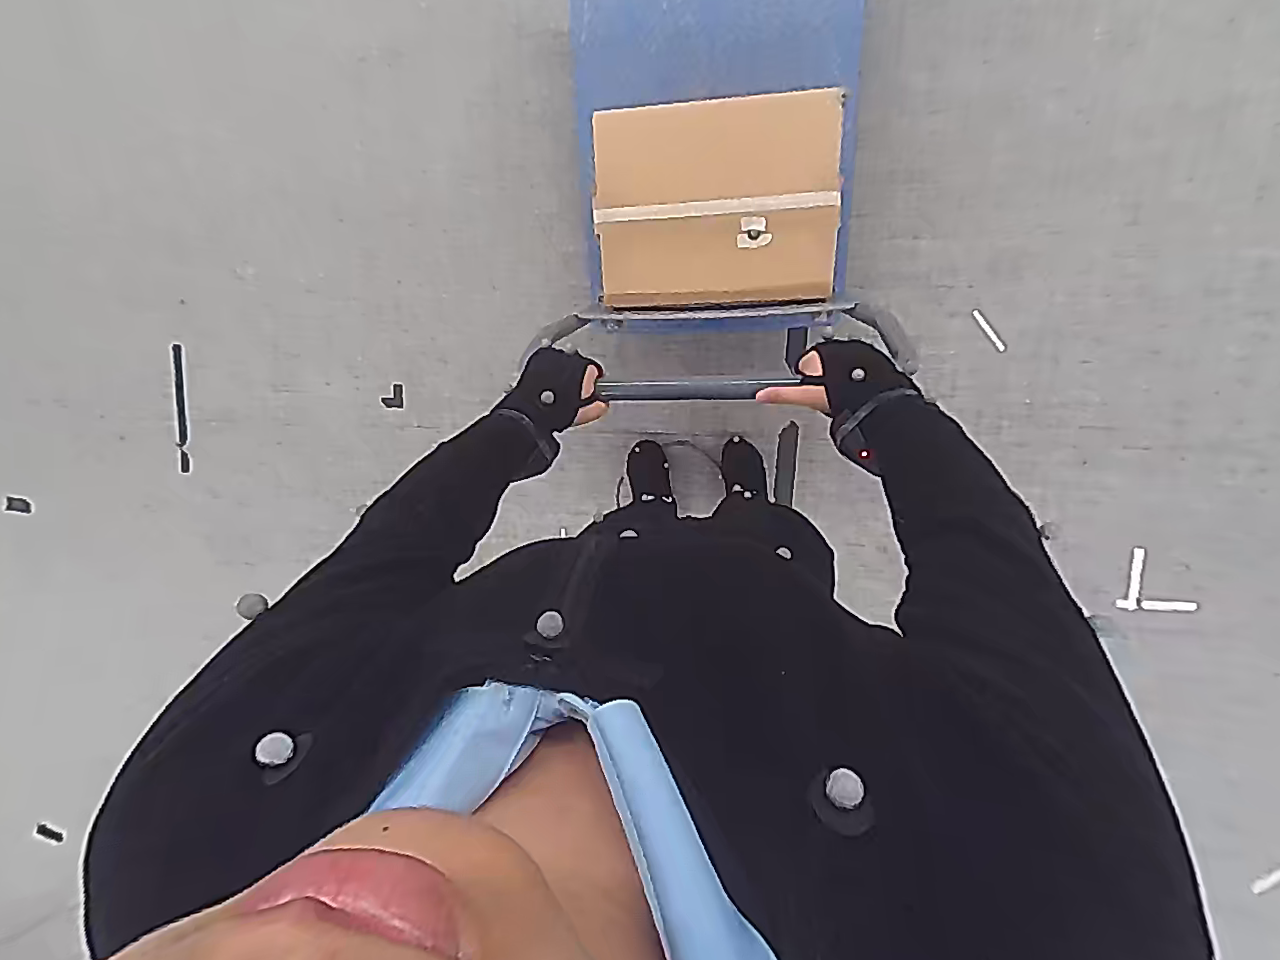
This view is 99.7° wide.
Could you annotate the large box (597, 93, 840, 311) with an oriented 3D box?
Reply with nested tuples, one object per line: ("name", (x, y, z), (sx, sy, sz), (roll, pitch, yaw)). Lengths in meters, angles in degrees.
("large box", (0.149, -0.512, 1.072), (0.408, 0.320, 0.320), (0, 109, 8))
